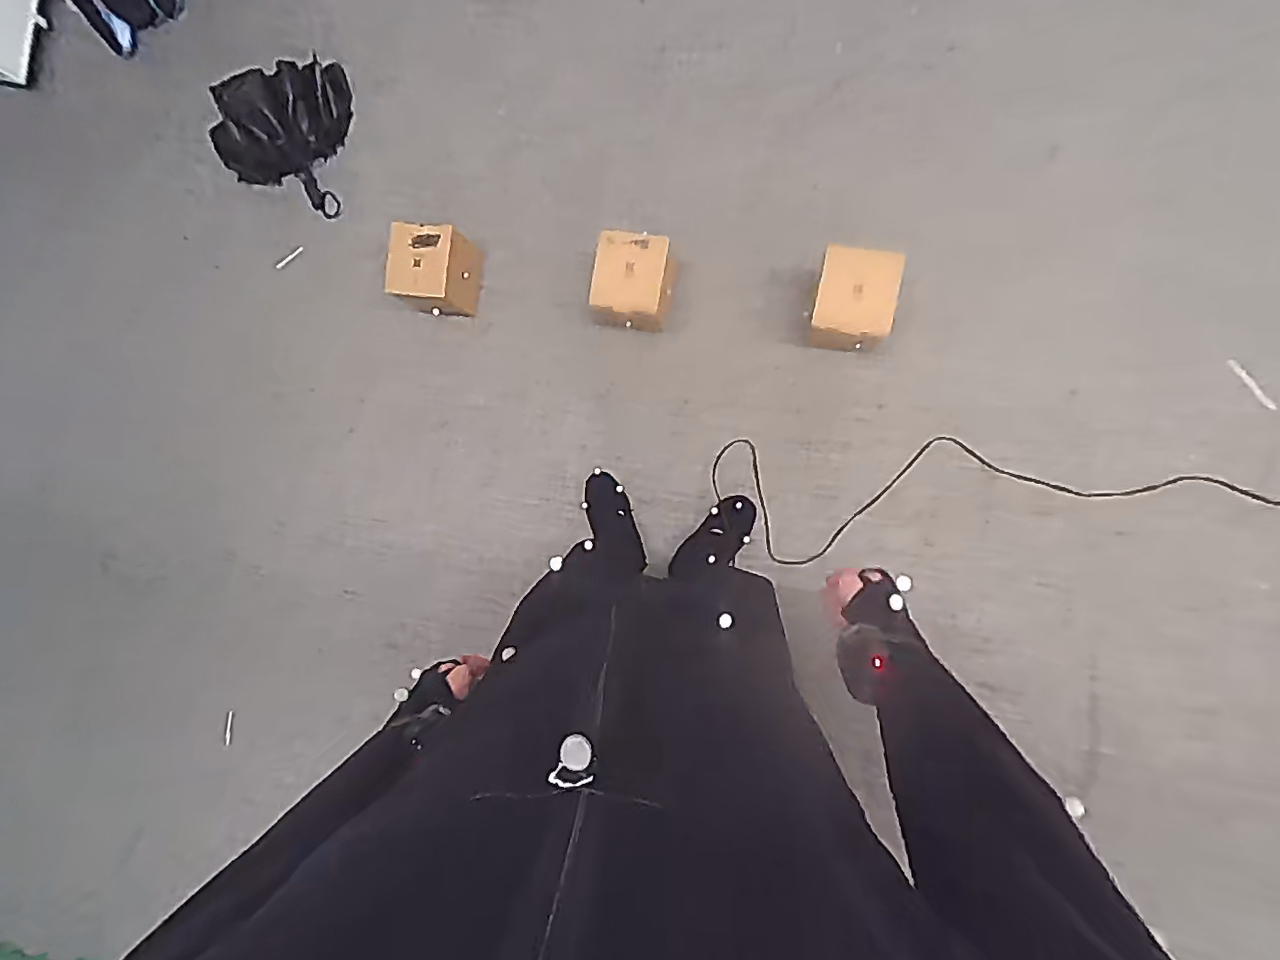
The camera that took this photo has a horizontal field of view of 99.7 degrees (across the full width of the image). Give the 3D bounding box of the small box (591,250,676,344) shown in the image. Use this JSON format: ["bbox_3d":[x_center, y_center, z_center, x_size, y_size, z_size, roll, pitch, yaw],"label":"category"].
[{"bbox_3d":[-0.010,-0.445,1.340,0.168,0.176,0.179,10,93,10],"label":"small box"}]

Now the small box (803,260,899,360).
[{"bbox_3d":[0.478,-0.384,1.250,0.168,0.176,0.179,9,92,10],"label":"small box"}]

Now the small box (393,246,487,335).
[{"bbox_3d":[-0.523,-0.497,1.433,0.168,0.176,0.179,7,93,11],"label":"small box"}]
